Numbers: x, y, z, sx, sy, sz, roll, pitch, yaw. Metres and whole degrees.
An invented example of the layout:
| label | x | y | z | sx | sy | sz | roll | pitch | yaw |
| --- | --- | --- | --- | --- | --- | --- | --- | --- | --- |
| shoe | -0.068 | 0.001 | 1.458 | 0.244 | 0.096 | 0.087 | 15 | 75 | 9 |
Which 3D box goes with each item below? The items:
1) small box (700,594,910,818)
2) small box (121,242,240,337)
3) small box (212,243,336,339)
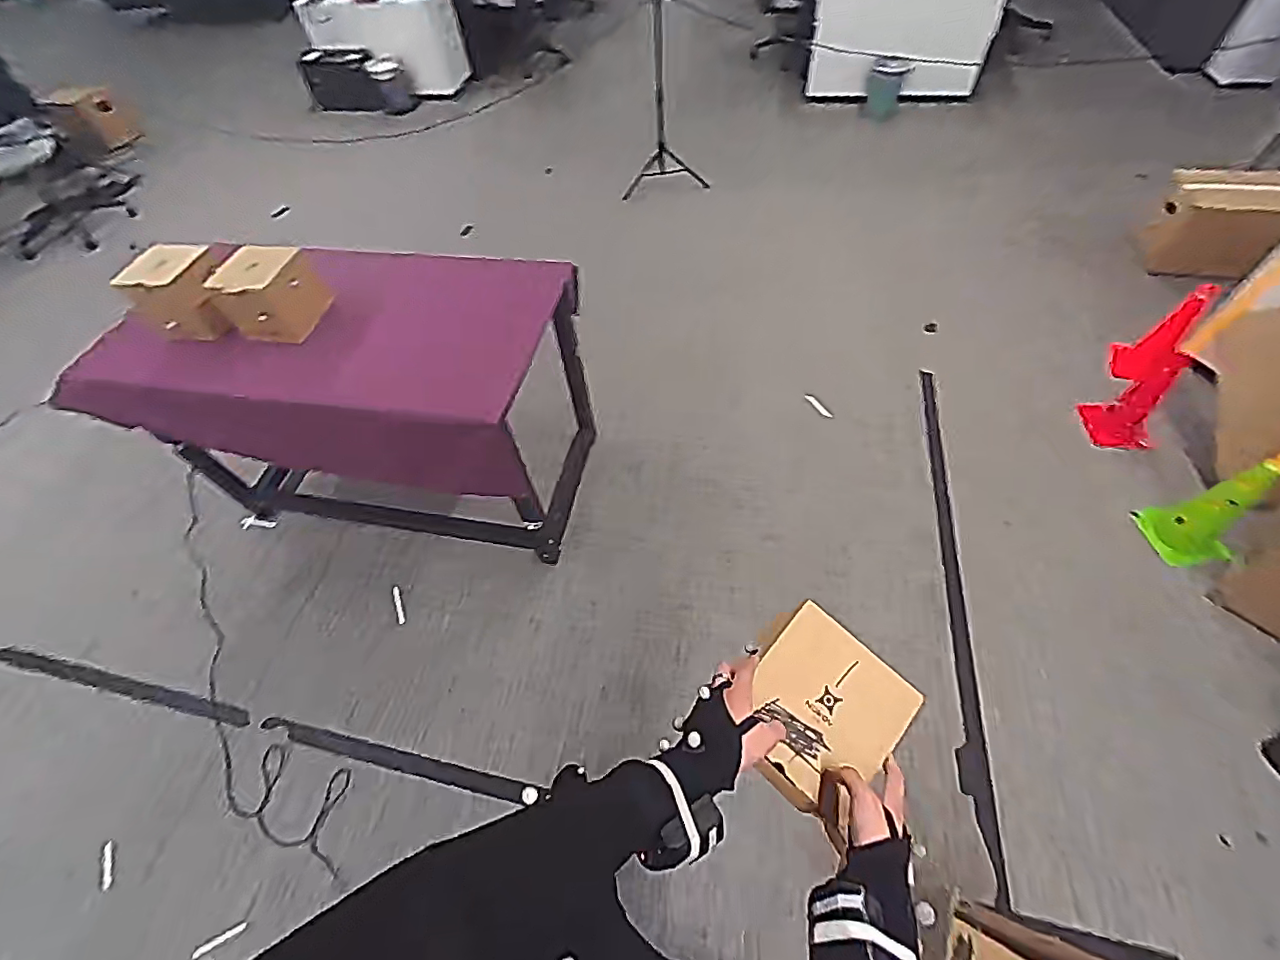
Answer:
| label | x | y | z | sx | sy | sz | roll | pitch | yaw |
| --- | --- | --- | --- | --- | --- | --- | --- | --- | --- |
| small box | 0.190 | 0.276 | 0.679 | 0.168 | 0.176 | 0.179 | 40 | 72 | 14 |
| small box | -1.179 | -0.504 | 1.428 | 0.168 | 0.176 | 0.179 | 4 | 55 | 9 |
| small box | -0.931 | -0.484 | 1.396 | 0.168 | 0.176 | 0.179 | 6 | 55 | 8 |
